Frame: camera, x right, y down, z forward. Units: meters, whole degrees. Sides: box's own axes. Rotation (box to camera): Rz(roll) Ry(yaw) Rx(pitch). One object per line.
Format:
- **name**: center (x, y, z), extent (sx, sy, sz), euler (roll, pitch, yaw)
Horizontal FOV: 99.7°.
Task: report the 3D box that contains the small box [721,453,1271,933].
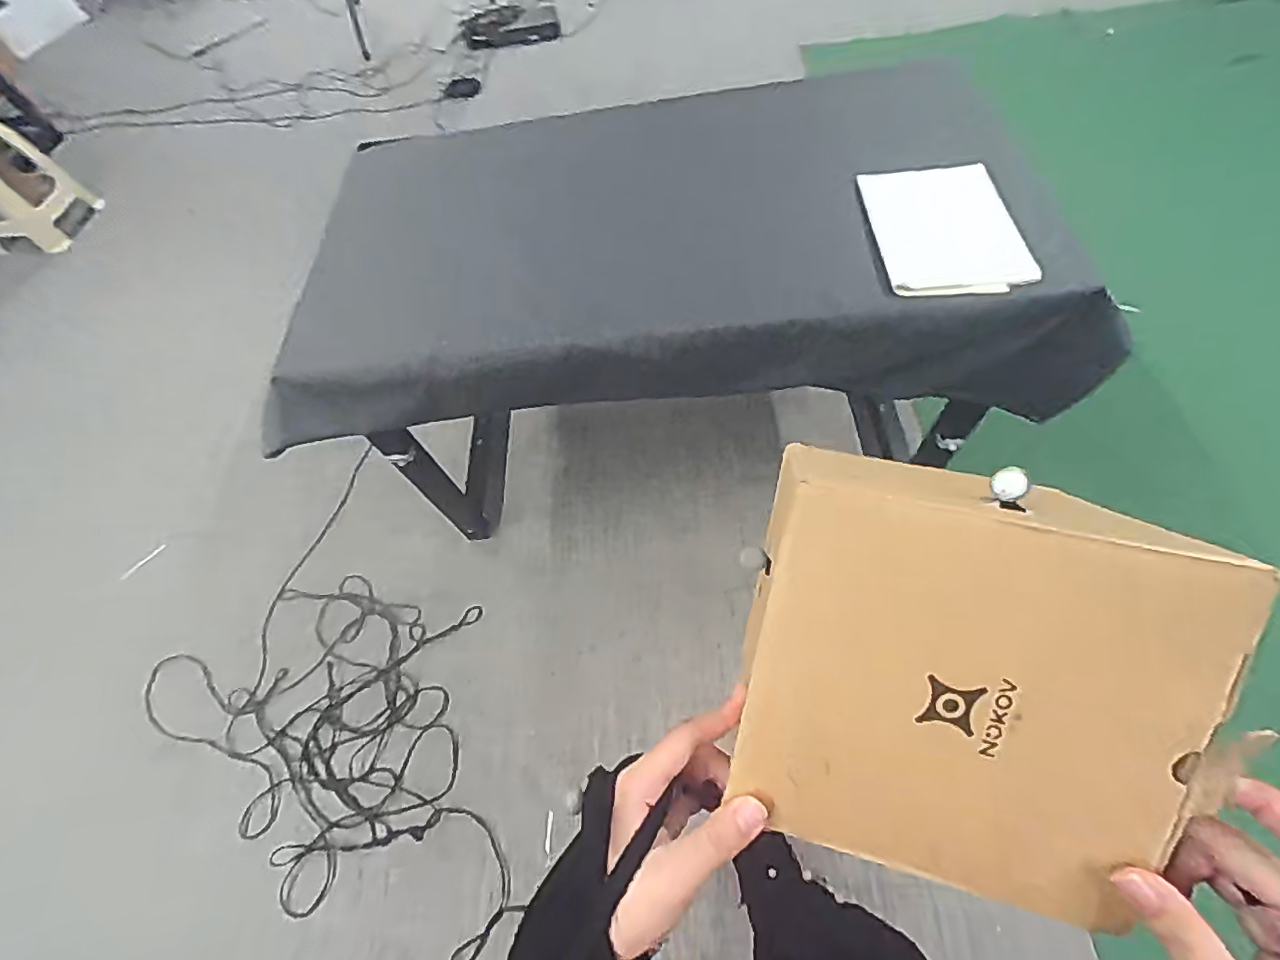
- **small box**: center (0.151, 0.081, 0.302), extent (0.179, 0.176, 0.168), euler (11, 99, 11)
